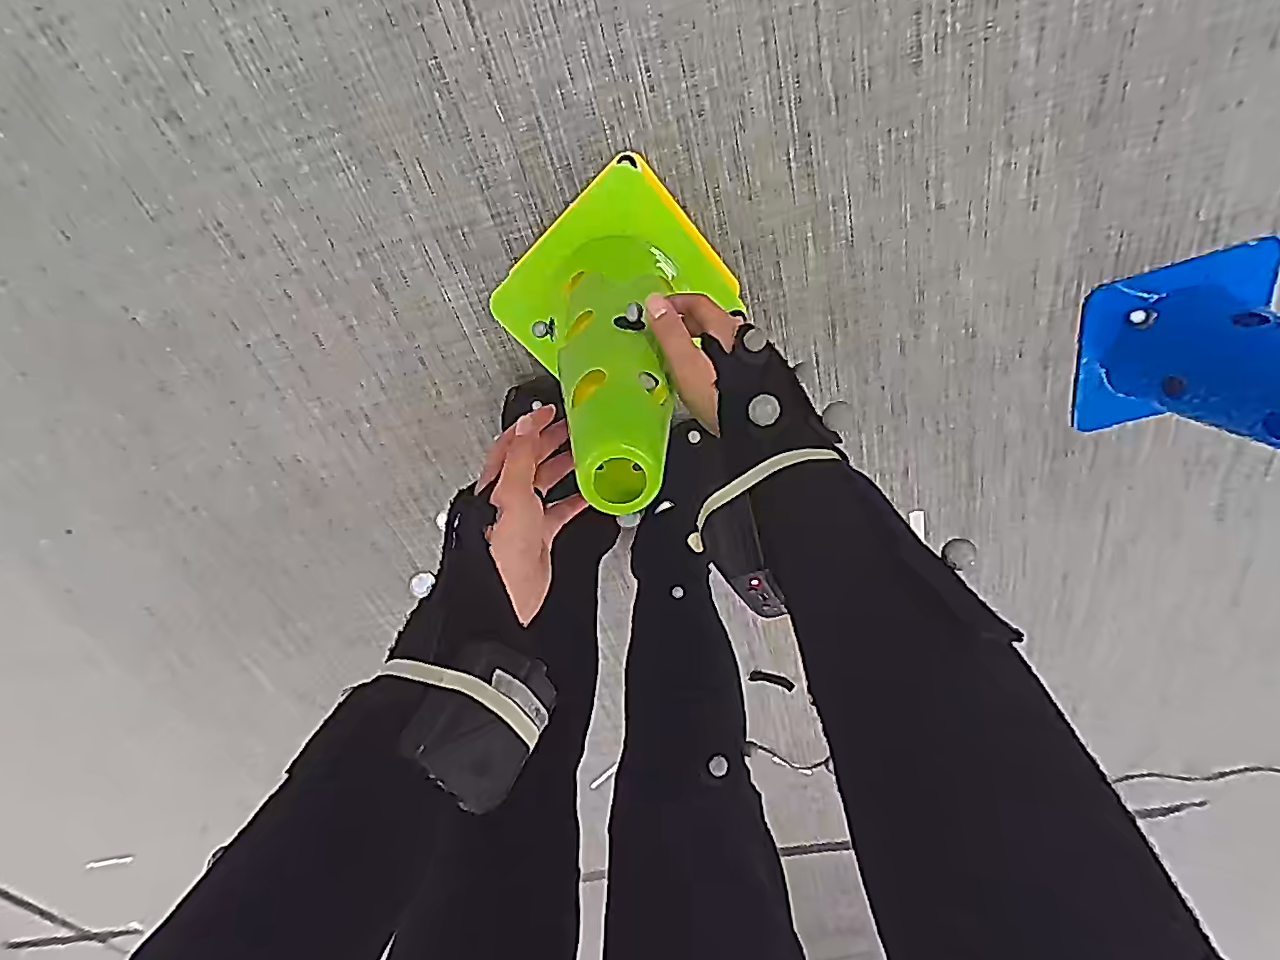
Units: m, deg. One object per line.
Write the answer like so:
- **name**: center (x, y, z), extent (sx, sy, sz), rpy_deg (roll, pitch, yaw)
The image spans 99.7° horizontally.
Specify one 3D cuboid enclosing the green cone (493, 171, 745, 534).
- **green cone**: center (-0.017, -0.083, 0.405), extent (0.202, 0.368, 0.200), rpy_deg (-39, 113, 19)
